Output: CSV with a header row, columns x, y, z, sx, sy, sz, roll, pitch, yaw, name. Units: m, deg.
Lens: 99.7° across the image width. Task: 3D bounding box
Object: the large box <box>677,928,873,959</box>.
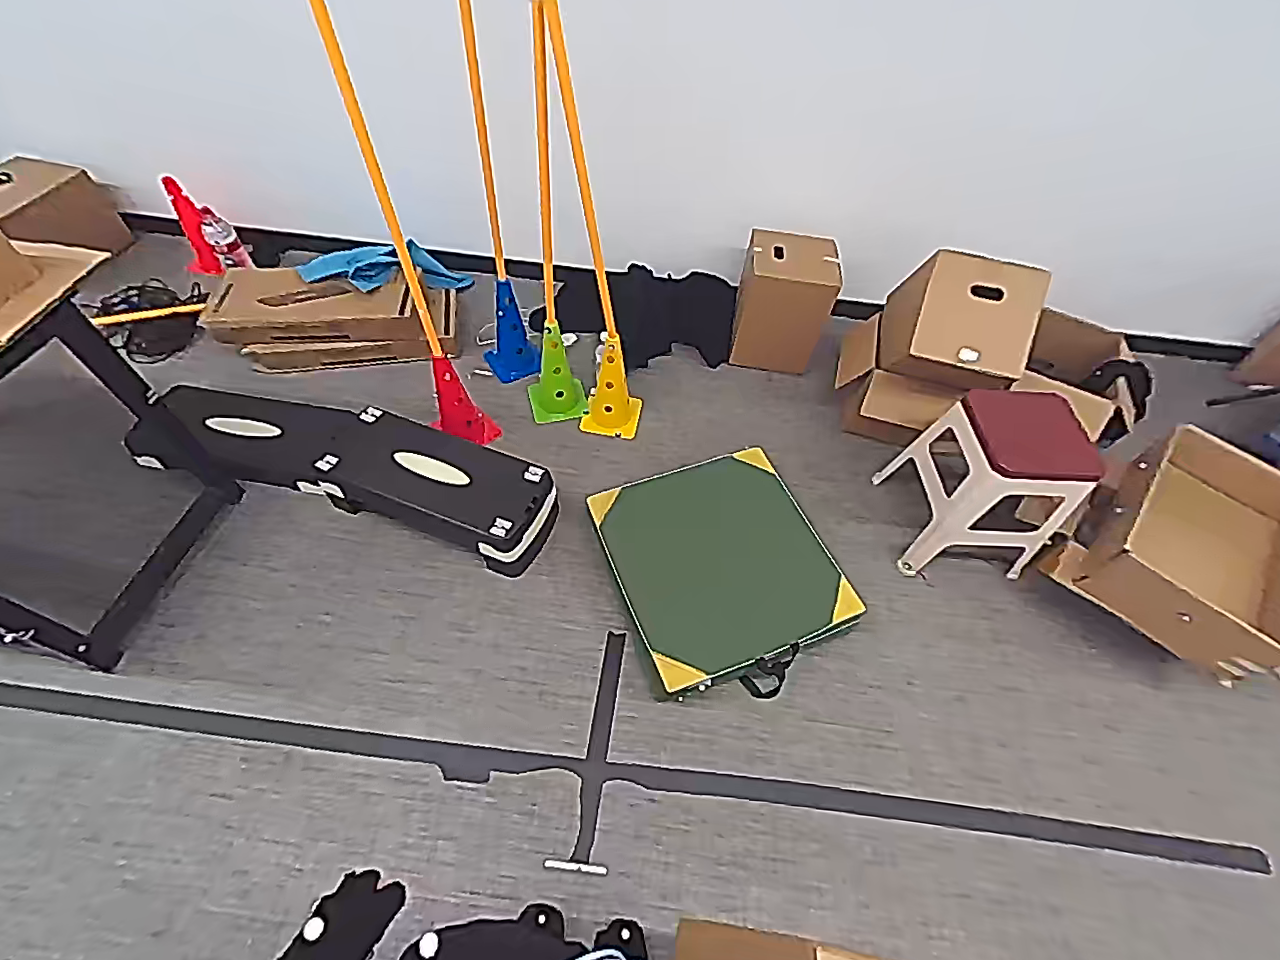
x,y,z,sx,sy,sz,roll,pitch,yaw,name
0.242,0.782,0.659,0.320,0.408,0.320,18,51,-6,large box
